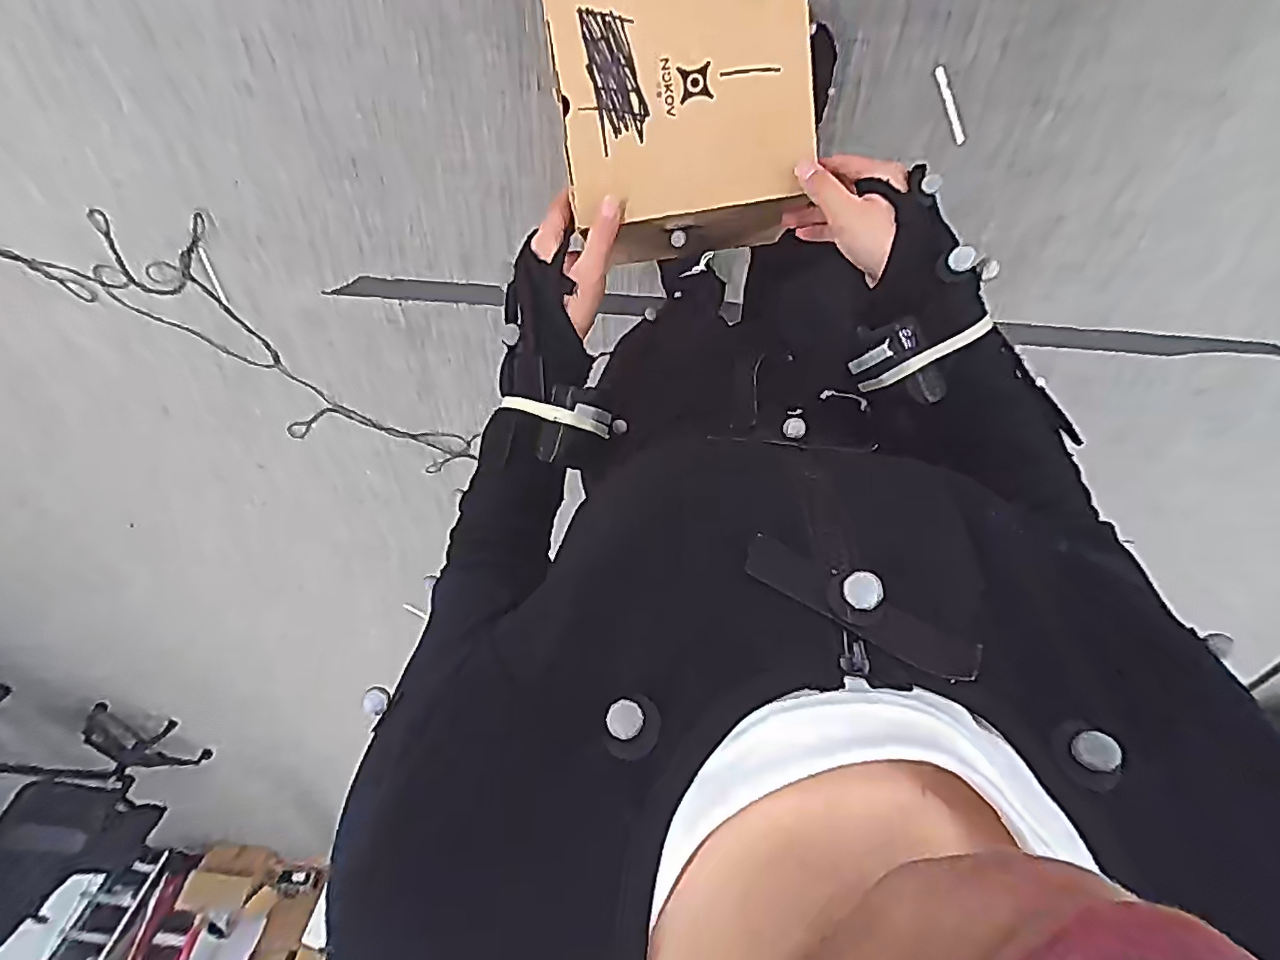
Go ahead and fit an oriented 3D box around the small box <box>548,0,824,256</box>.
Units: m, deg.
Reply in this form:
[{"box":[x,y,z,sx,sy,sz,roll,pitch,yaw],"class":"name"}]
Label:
[{"box":[0.036,-0.292,0.440,0.179,0.176,0.168,-7,102,4],"class":"small box"}]
